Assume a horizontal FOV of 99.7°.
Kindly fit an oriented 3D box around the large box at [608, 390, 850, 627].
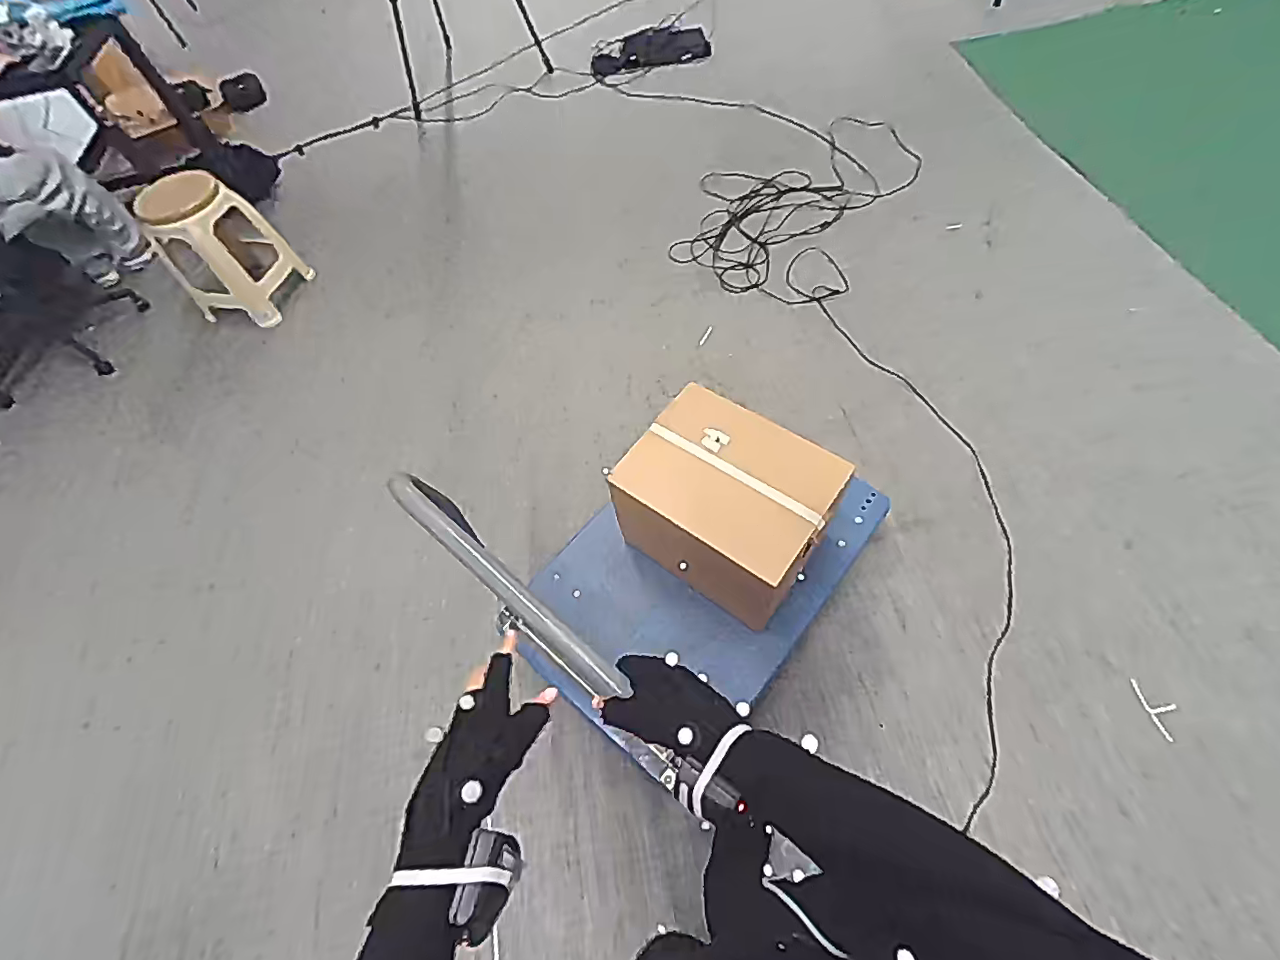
[{"bbox_3d":[0.197,0.068,1.232,0.408,0.320,0.320,31,67,24],"label":"large box"}]
